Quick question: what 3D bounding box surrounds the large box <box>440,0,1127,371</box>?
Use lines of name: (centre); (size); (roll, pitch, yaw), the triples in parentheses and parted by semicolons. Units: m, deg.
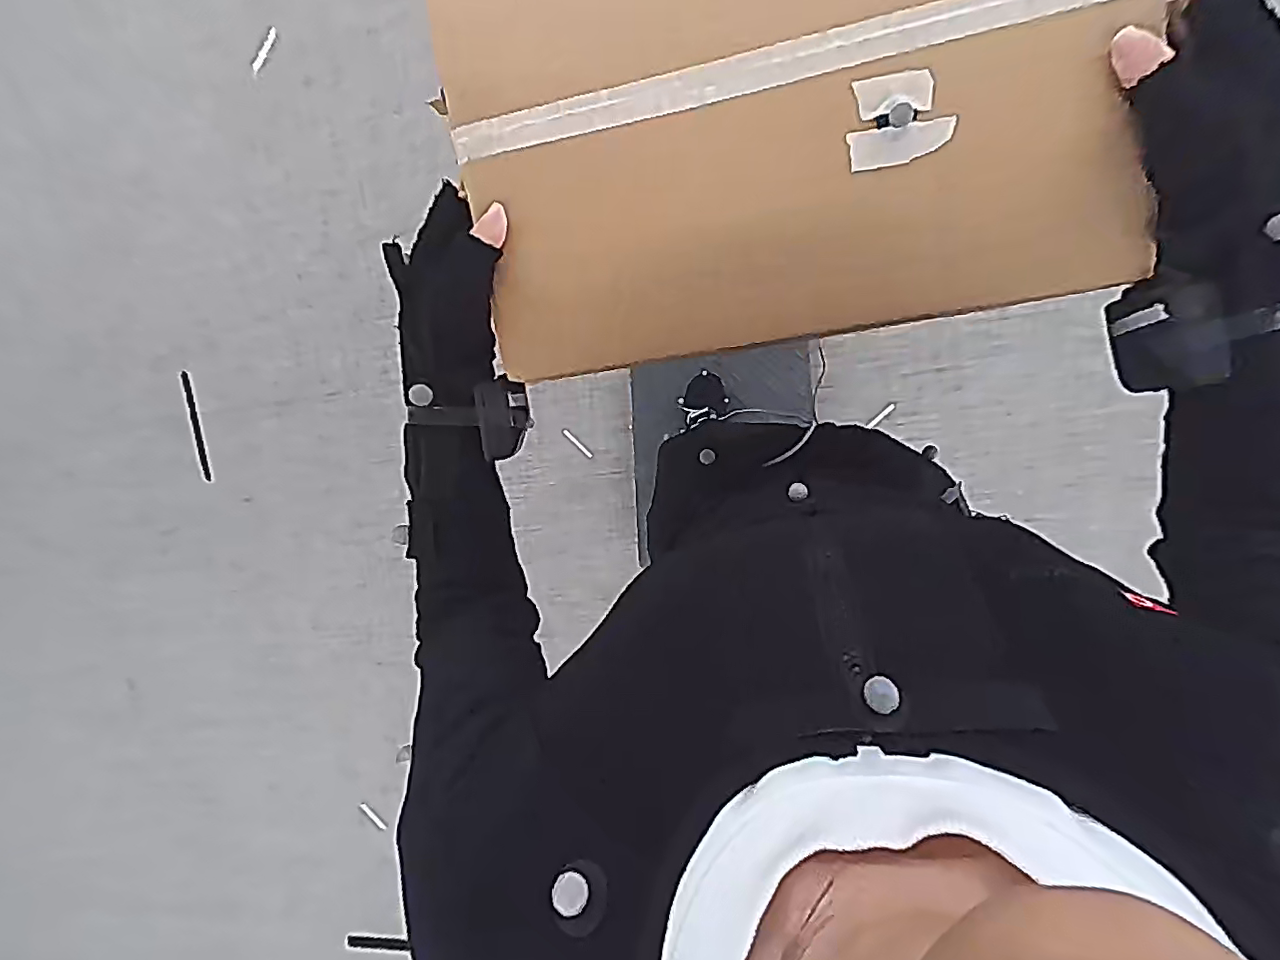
large box: (0.096, -0.288, 0.479); (0.408, 0.320, 0.320); (-8, 103, 9)
